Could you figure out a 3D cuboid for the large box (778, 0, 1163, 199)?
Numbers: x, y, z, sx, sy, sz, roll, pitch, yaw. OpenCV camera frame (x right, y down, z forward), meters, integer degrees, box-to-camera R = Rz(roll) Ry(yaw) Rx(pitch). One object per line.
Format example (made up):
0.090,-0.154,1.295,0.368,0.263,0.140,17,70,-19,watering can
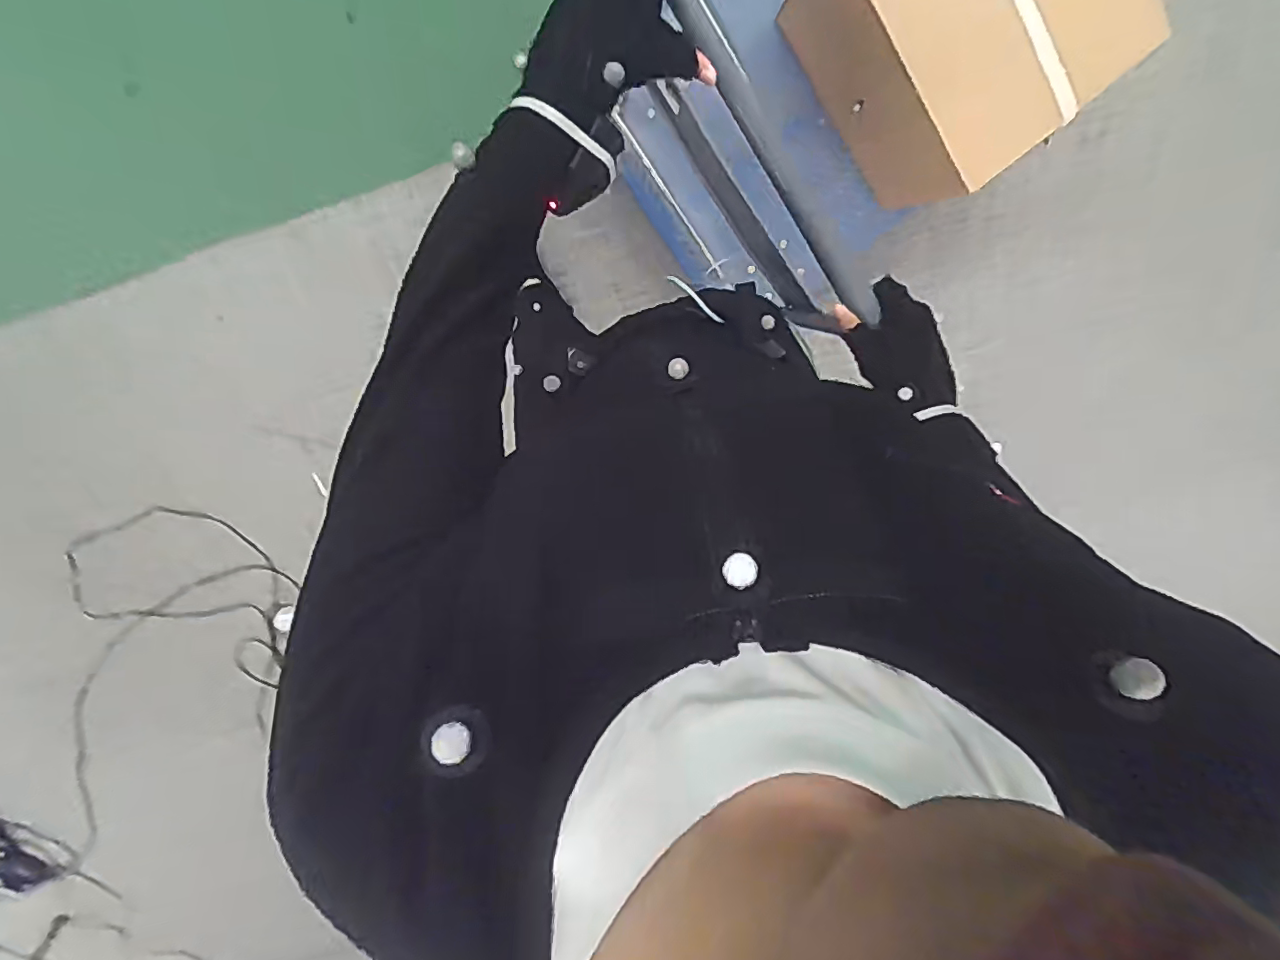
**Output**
0.490,-0.739,0.873,0.320,0.320,0.408,-39,108,13,large box
